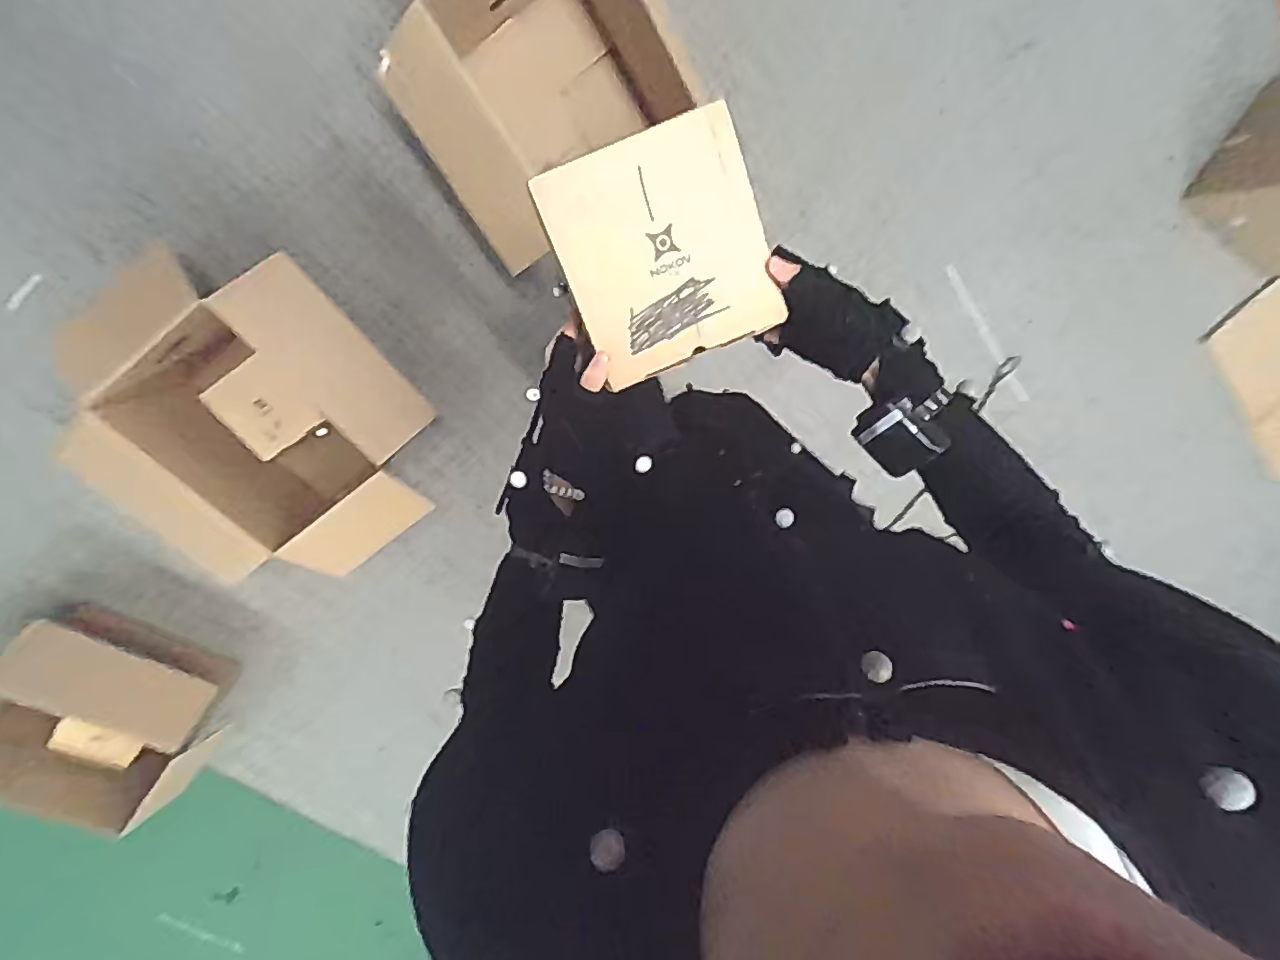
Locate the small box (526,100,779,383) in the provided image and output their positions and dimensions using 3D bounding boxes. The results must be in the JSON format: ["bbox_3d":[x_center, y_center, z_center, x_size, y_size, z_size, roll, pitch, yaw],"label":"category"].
[{"bbox_3d":[0.008,-0.209,0.513,0.168,0.176,0.179,-21,107,-1],"label":"small box"}]
